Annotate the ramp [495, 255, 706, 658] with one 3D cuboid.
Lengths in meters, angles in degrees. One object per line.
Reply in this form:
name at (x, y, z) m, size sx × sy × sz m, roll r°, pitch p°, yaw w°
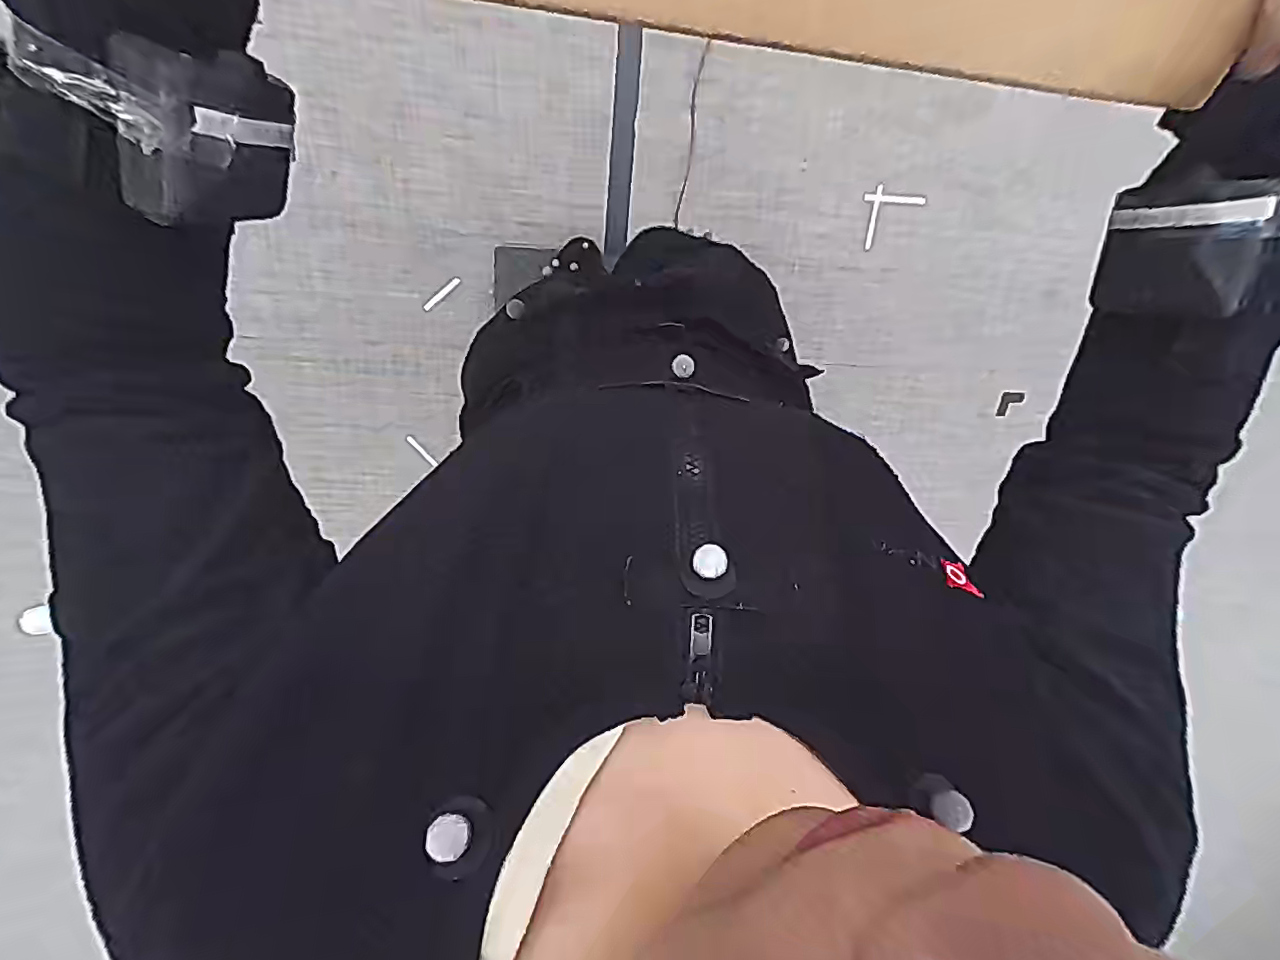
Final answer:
ramp at (-0.112, -0.015, 1.347) m, size 0.509 × 0.206 × 0.991 m, roll 1°, pitch 112°, yaw -6°
